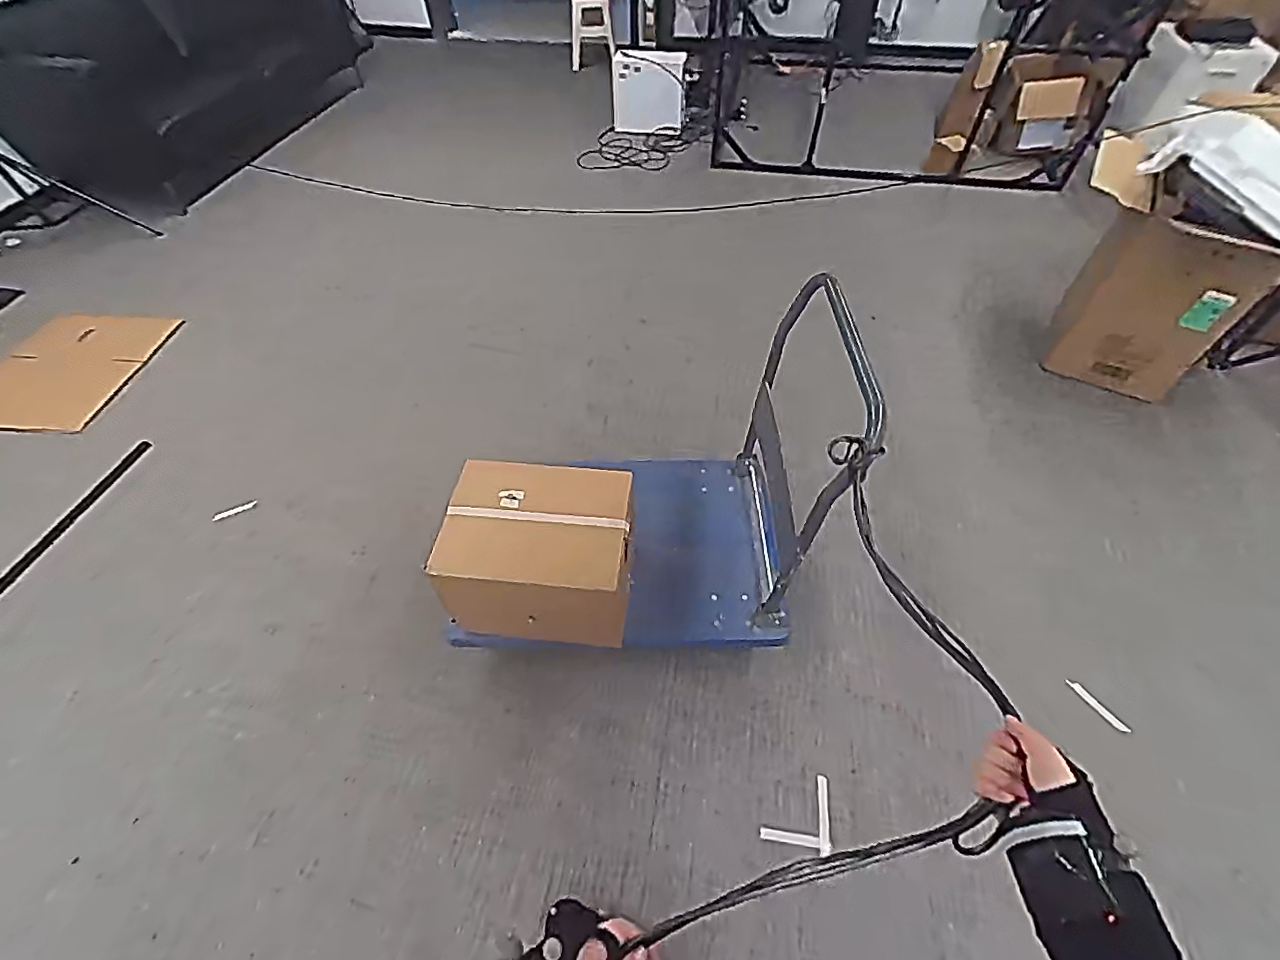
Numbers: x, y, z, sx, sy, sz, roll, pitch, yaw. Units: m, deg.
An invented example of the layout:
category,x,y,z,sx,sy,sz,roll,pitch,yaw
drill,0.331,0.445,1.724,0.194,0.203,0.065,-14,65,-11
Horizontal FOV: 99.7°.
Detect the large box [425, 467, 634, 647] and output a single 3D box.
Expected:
category,x,y,z,sx,sy,sz,roll,pitch,yaw
large box,-0.227,0.189,1.301,0.408,0.320,0.320,4,51,4
